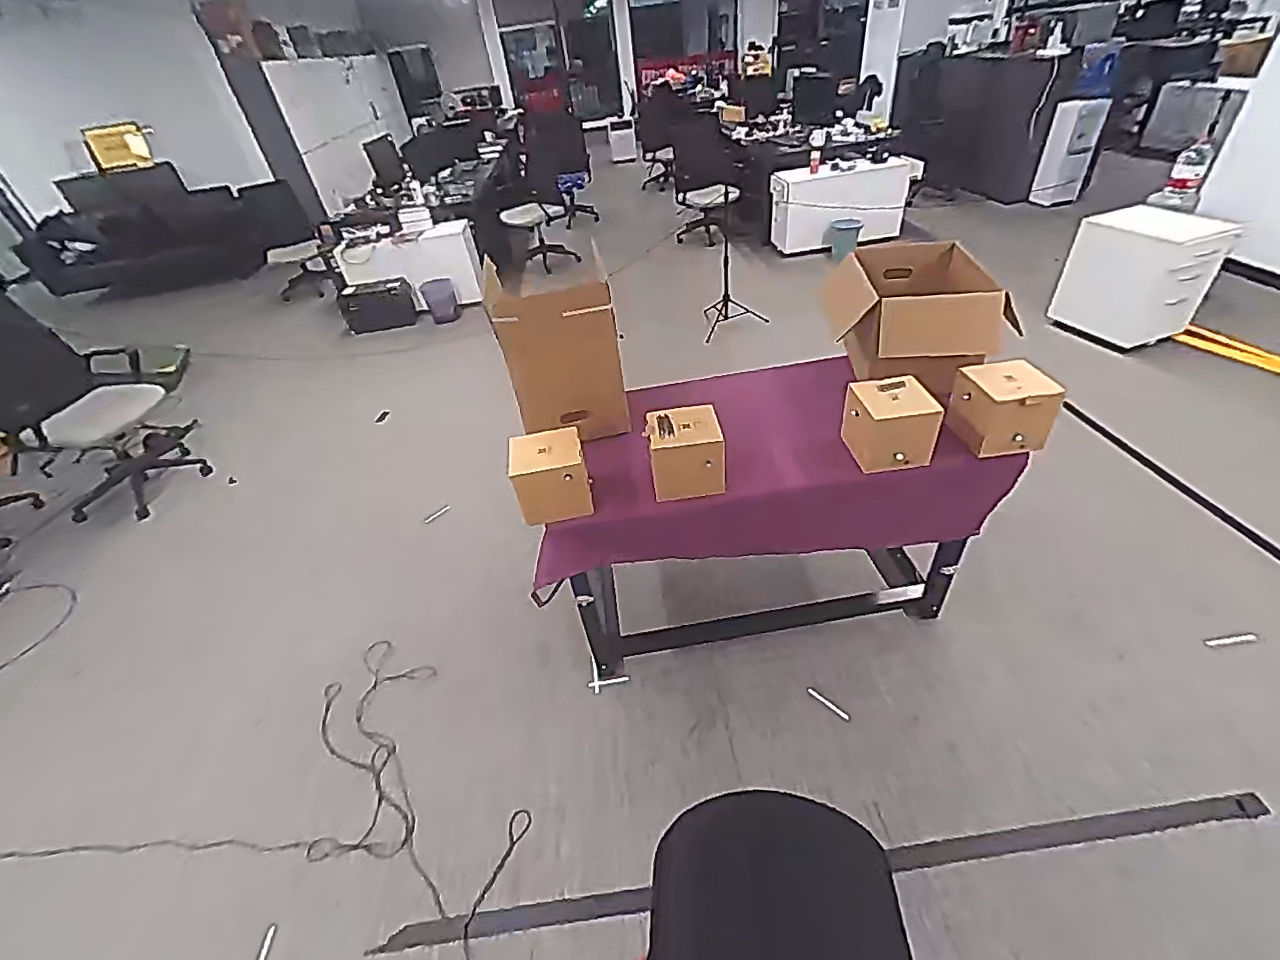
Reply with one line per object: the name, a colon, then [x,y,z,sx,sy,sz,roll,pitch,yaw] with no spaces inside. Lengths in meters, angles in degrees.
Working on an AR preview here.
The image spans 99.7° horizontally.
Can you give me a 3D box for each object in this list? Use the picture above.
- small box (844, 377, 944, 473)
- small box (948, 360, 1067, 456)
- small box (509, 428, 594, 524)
small box: [0.632,-0.140,1.374,0.168,0.176,0.179,-8,40,1]
small box: [0.914,-0.181,1.368,0.168,0.176,0.179,-8,39,2]
small box: [-0.222,-0.007,1.370,0.179,0.176,0.168,-10,39,-4]
